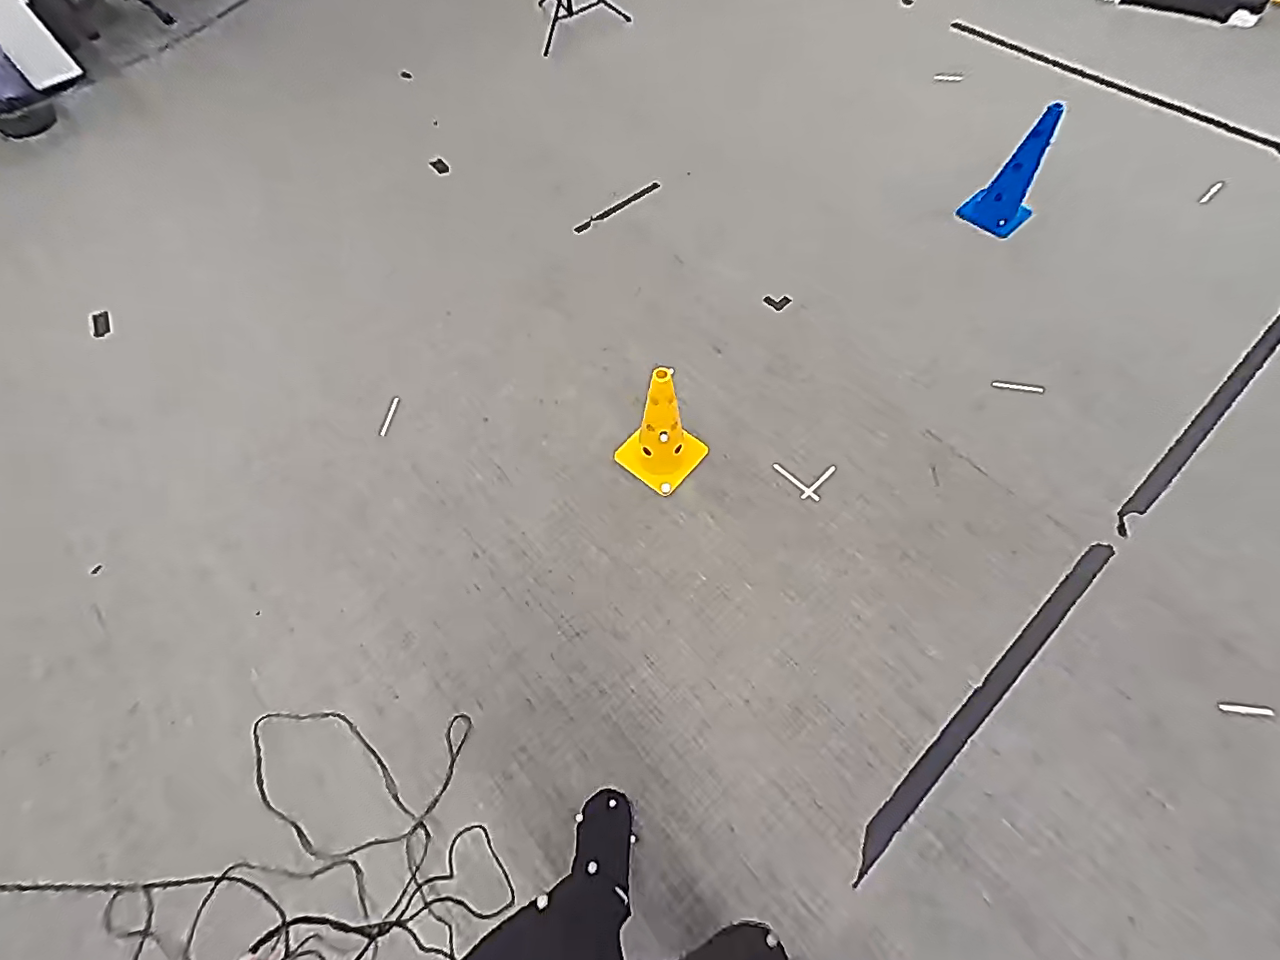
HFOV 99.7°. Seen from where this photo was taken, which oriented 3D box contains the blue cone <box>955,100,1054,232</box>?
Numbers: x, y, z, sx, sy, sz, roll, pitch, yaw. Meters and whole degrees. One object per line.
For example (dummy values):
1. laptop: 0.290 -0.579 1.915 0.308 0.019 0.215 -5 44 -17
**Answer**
1. blue cone: 1.244 -1.039 1.787 0.193 0.380 0.192 -38 66 -17
